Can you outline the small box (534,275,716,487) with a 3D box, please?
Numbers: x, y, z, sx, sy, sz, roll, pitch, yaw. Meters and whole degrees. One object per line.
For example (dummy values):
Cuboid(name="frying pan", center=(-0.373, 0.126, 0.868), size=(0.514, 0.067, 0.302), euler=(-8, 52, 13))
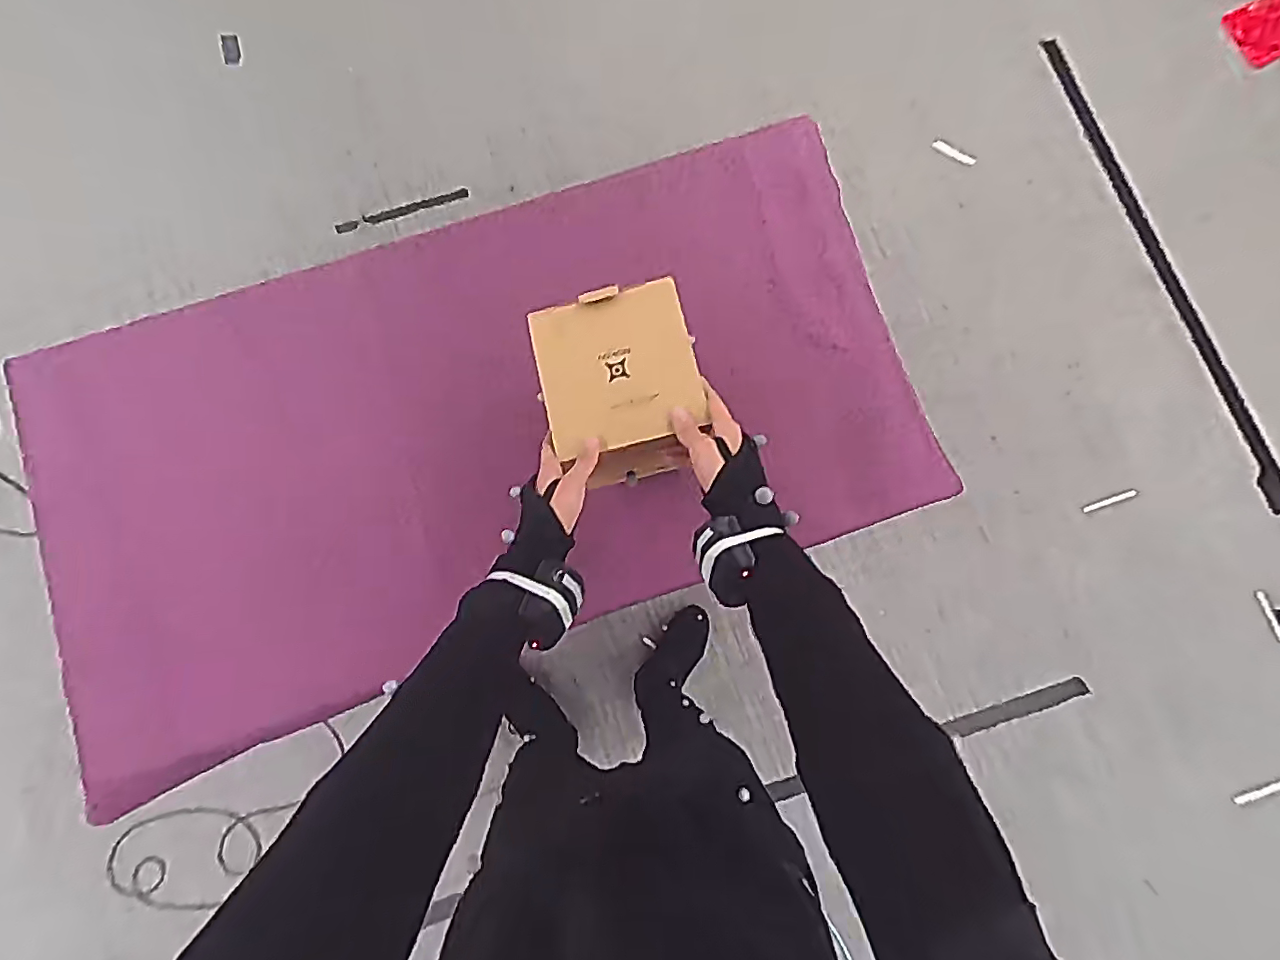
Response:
Cuboid(name="small box", center=(-0.014, -0.105, 0.638), size=(0.168, 0.176, 0.179), euler=(-13, 78, 2))
